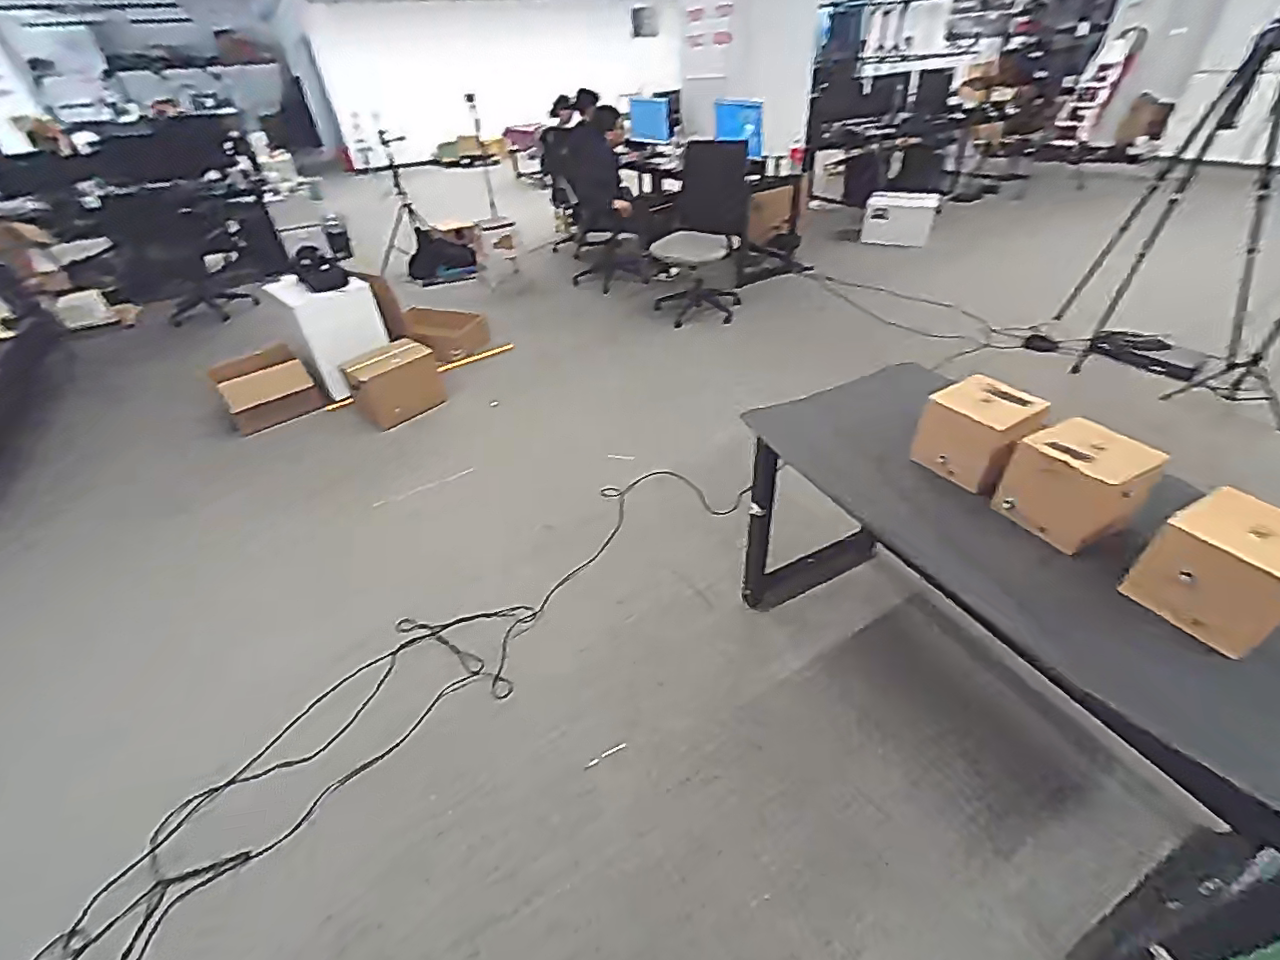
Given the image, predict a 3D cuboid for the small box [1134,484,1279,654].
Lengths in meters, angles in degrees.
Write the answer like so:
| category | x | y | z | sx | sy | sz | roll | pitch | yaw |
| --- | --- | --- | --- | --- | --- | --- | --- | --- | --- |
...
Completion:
| category | x | y | z | sx | sy | sz | roll | pitch | yaw |
| --- | --- | --- | --- | --- | --- | --- | --- | --- | --- |
| small box | 0.939 | 0.139 | 0.851 | 0.179 | 0.176 | 0.168 | -20 | 41 | -20 |
